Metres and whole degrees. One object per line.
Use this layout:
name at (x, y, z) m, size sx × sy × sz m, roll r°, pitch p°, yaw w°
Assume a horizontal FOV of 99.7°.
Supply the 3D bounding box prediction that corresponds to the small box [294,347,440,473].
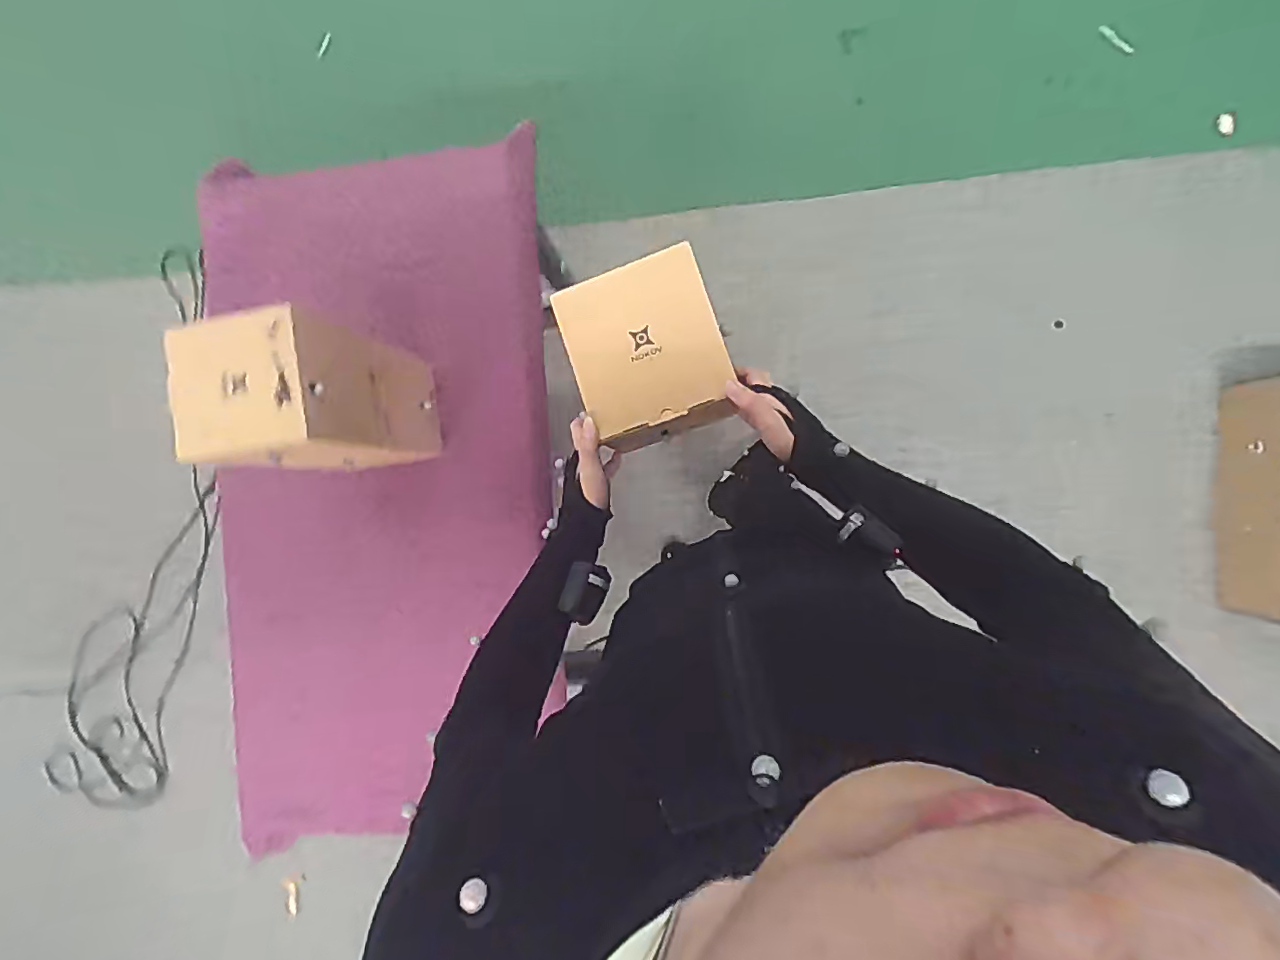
small box at (-0.453, -0.104, 0.881) m, size 0.179 × 0.176 × 0.168 m, roll -8°, pitch 89°, yaw 6°

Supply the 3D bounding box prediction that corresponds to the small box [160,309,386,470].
small box at (-0.473, -0.107, 0.717) m, size 0.179 × 0.176 × 0.168 m, roll -9°, pitch 89°, yaw 7°
